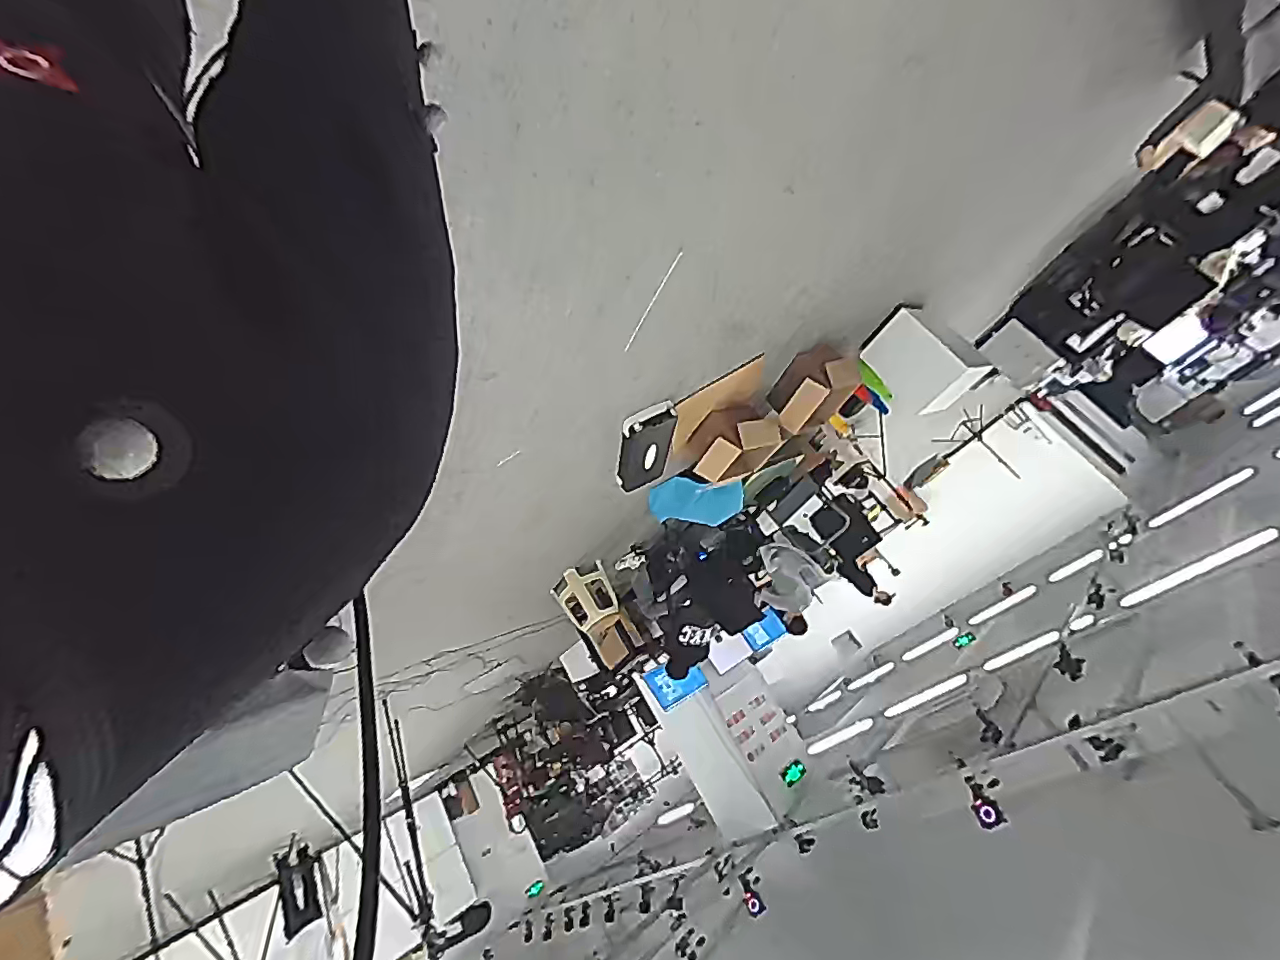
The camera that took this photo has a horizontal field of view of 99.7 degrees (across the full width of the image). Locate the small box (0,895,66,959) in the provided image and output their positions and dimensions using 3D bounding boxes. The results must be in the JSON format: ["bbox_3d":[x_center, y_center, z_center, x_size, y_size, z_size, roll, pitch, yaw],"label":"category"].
[{"bbox_3d":[-1.265,0.960,1.060,0.179,0.176,0.168,-10,149,-44],"label":"small box"}]

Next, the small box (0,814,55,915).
[{"bbox_3d":[-1.353,0.833,1.111,0.179,0.176,0.168,-13,152,-44],"label":"small box"}]
